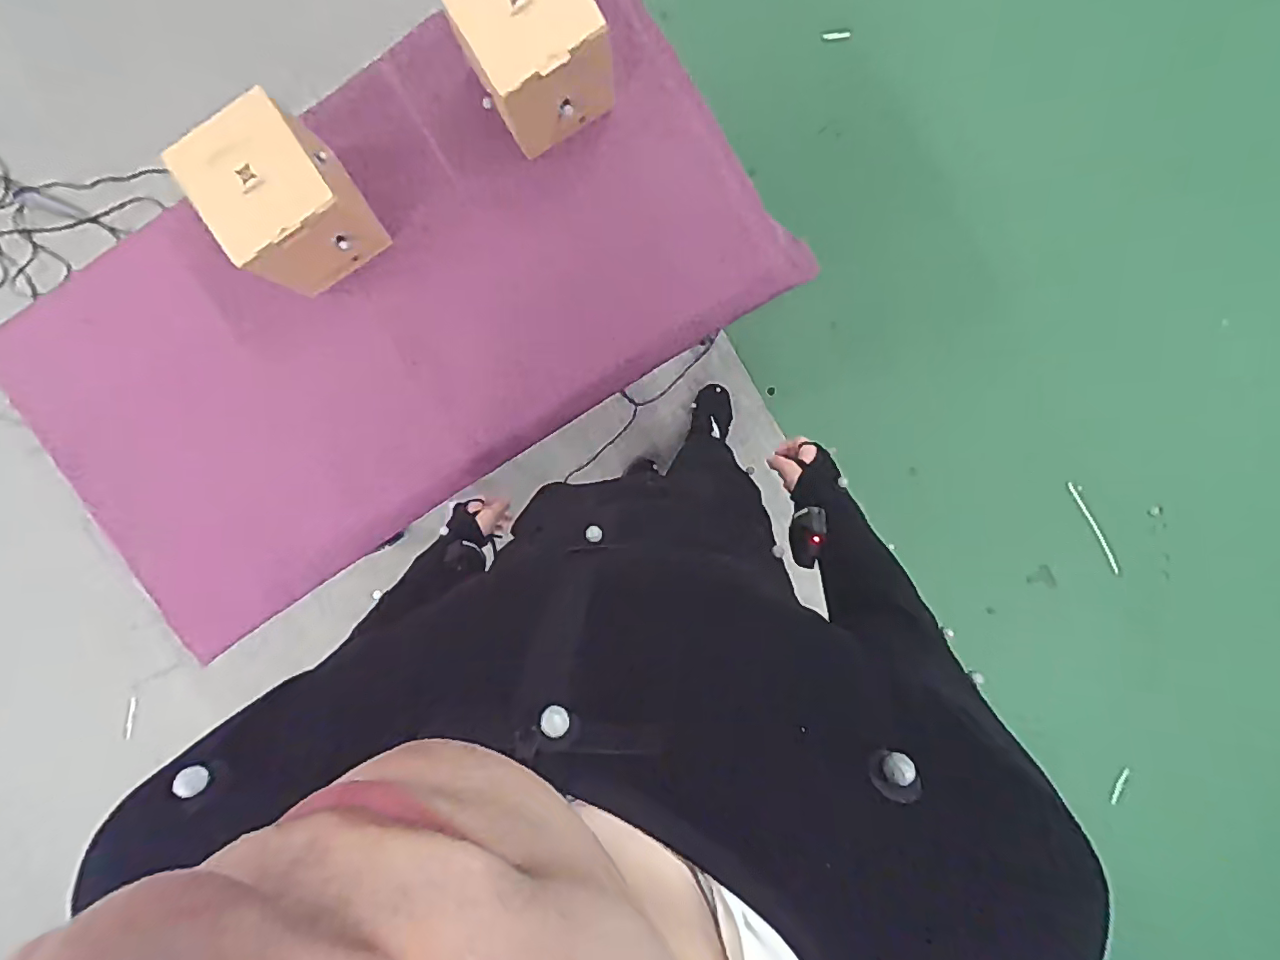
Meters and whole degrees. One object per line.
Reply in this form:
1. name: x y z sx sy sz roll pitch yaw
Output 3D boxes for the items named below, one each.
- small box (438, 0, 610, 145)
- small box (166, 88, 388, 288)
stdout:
1. small box: -0.155 -0.617 0.765 0.168 0.176 0.179 -32 94 4
2. small box: -0.512 -0.406 0.794 0.168 0.176 0.179 -33 93 3
